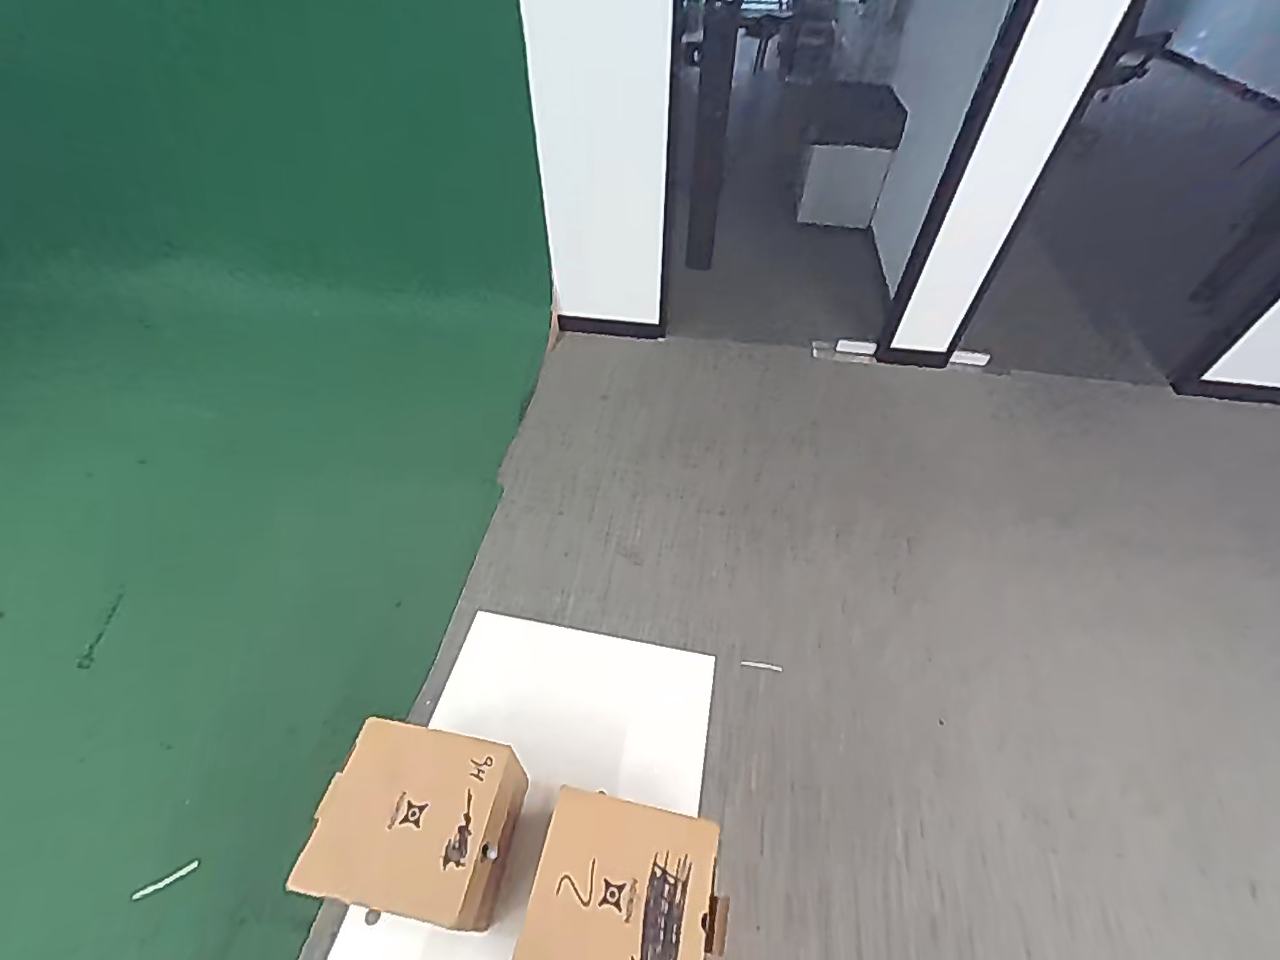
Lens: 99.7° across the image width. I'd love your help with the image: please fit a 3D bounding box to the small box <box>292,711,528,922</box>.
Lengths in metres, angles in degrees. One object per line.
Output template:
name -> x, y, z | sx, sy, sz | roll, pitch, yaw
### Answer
small box -> -0.246, 0.396, 0.633 | 0.179, 0.176, 0.168 | 9, 49, 5
